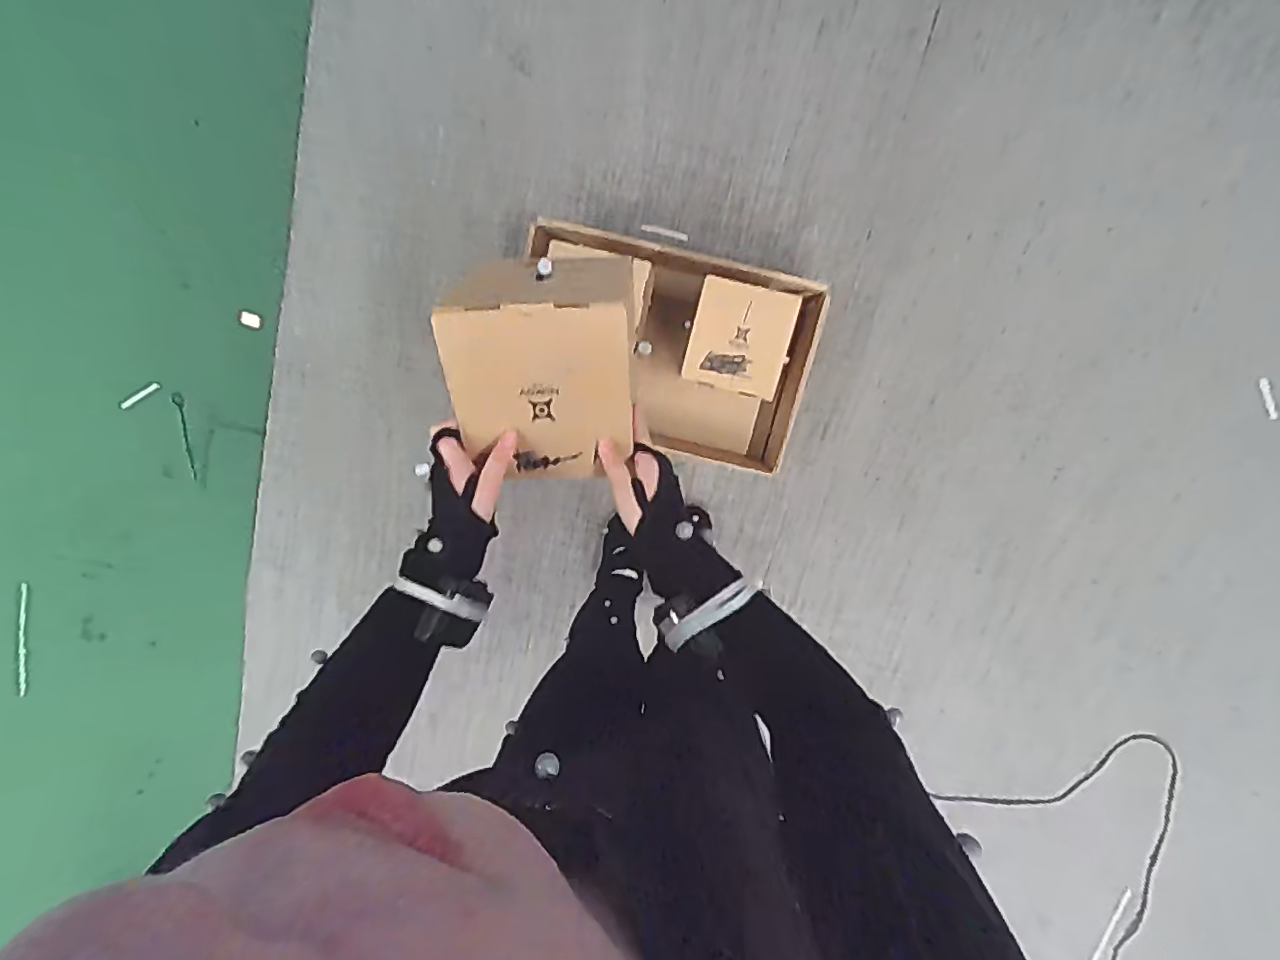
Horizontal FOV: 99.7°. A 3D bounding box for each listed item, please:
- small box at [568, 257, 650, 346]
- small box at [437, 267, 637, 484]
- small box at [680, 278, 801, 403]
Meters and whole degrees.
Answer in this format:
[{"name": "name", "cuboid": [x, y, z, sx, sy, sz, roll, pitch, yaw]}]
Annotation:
[{"name": "small box", "cuboid": [-0.078, -0.349, 1.159, 0.168, 0.176, 0.179, 18, 101, 0]}, {"name": "small box", "cuboid": [-0.088, -0.114, 0.559, 0.168, 0.176, 0.179, 0, 125, 1]}, {"name": "small box", "cuboid": [0.176, -0.251, 0.991, 0.168, 0.176, 0.179, 15, 102, 1]}]
